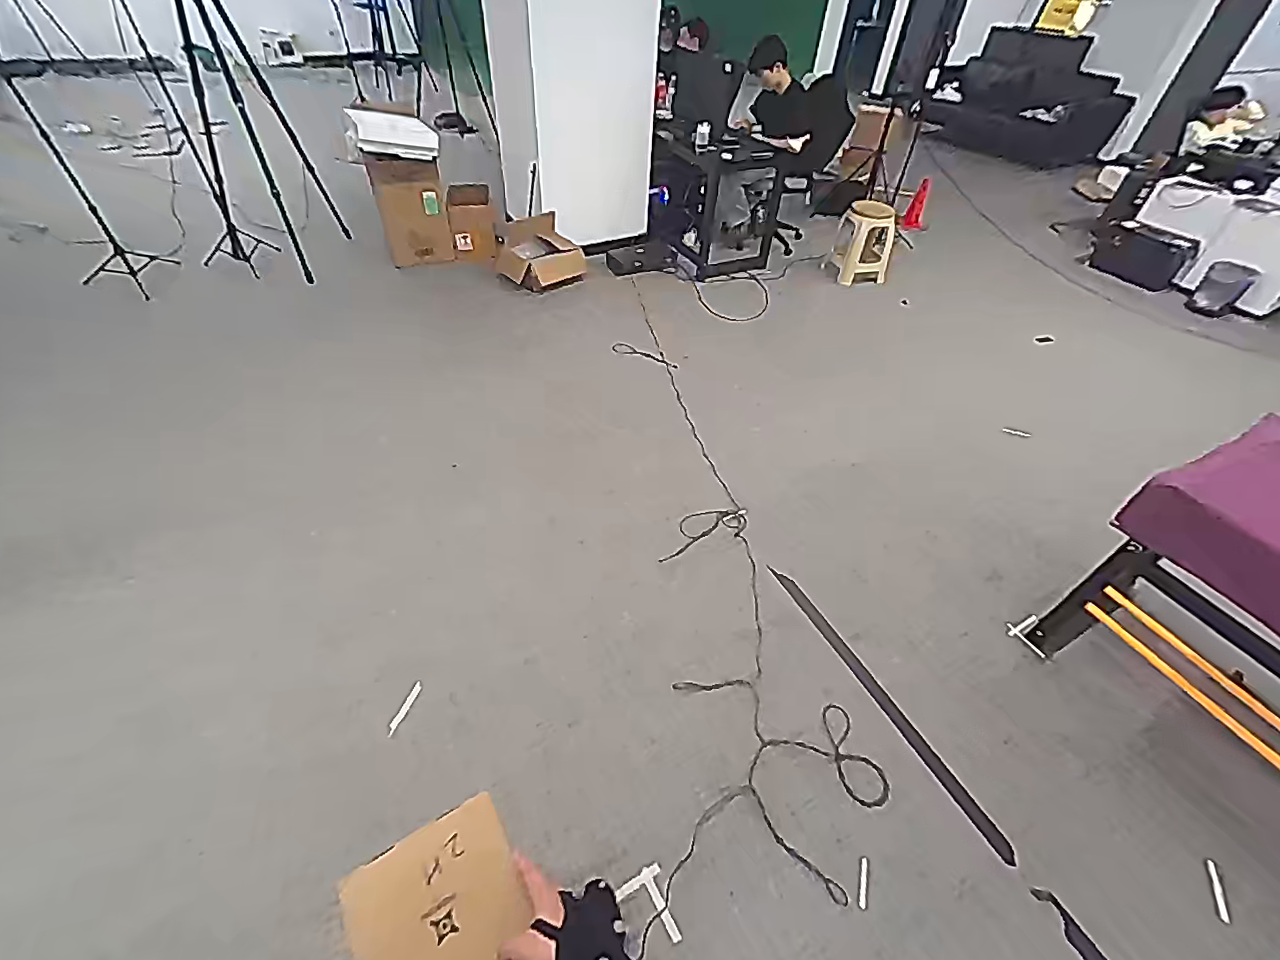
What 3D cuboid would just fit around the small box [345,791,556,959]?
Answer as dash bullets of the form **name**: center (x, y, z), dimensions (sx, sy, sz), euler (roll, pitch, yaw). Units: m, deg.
- **small box**: center (-0.202, 0.494, 0.609), dimensions (0.168, 0.176, 0.179), euler (-22, 55, -24)
